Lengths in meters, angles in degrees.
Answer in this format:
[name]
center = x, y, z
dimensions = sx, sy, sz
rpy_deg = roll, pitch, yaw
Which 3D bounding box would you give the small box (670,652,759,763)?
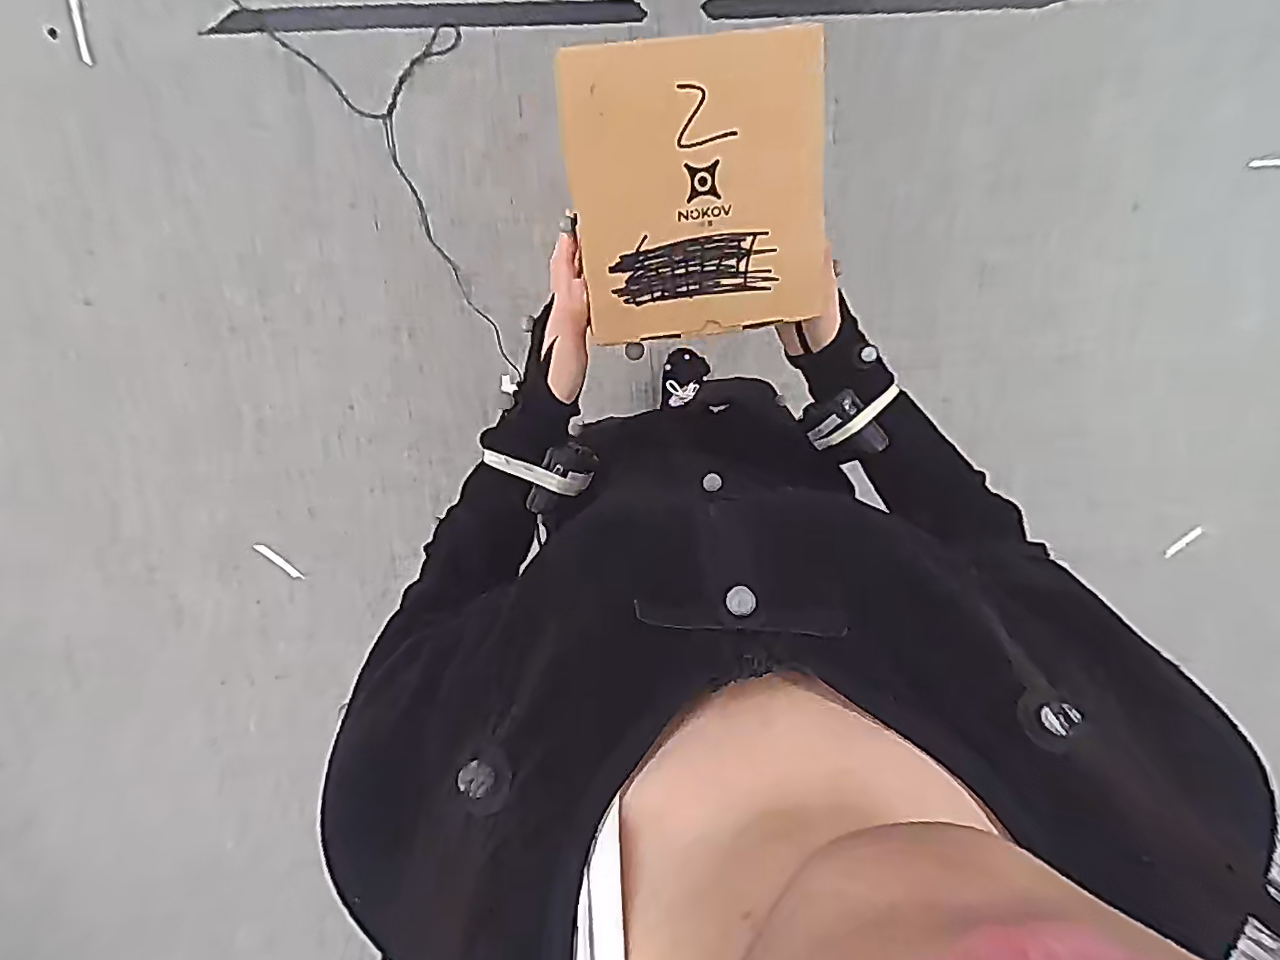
[small box]
center = 0.164, 0.500, 1.212
dimensions = 0.179, 0.176, 0.168
rpy_deg = -5, 100, 0
